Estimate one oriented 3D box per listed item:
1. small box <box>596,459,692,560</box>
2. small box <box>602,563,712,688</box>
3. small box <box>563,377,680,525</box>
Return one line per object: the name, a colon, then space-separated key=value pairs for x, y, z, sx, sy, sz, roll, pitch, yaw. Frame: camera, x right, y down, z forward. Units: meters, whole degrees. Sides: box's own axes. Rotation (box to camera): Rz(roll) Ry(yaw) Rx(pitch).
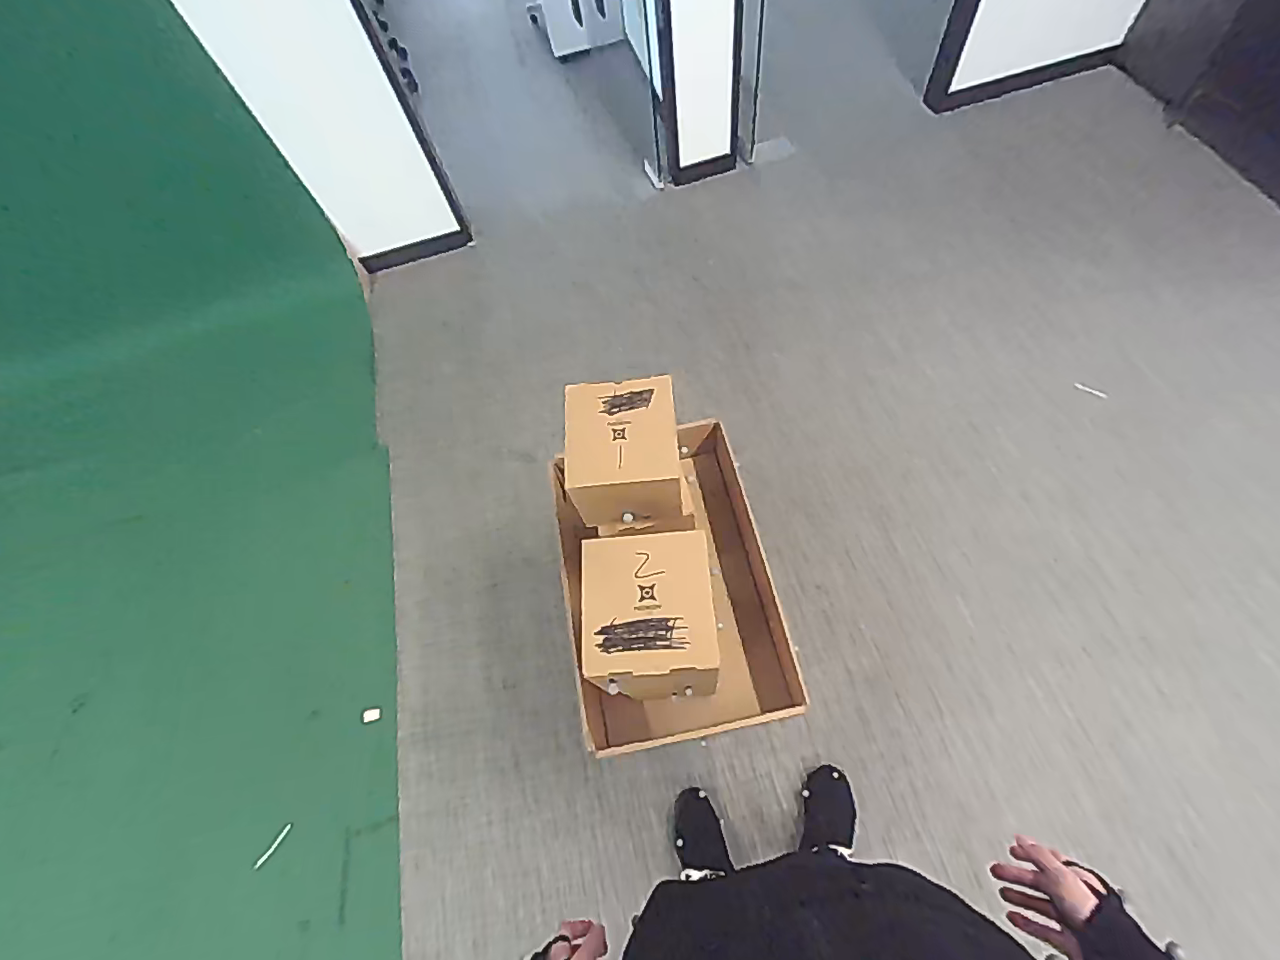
small box: x=-0.004 y=0.031 z=1.013 sx=0.168 sy=0.176 sz=0.179 roll=-13 pitch=65 yaw=-1
small box: x=0.034 y=0.248 z=0.899 sx=0.168 sy=0.176 sz=0.179 roll=-3 pitch=63 yaw=5
small box: x=-0.025 y=-0.041 z=0.867 sx=0.168 sy=0.176 sz=0.179 roll=-5 pitch=66 yaw=4
